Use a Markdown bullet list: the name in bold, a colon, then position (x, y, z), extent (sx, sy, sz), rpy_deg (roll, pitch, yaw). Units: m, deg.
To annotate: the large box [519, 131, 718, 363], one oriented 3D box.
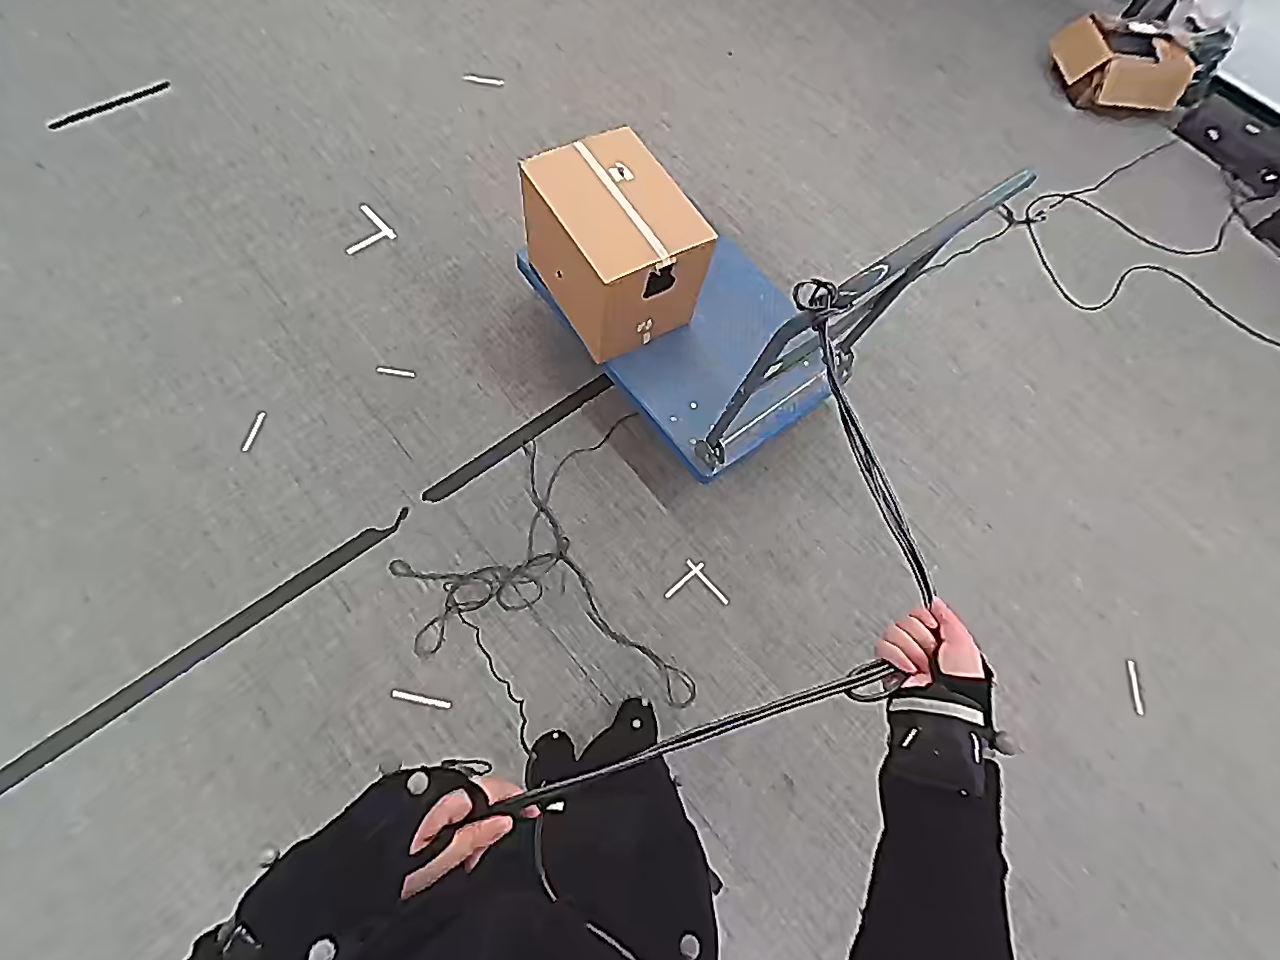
- **large box**: position (-0.065, -0.587, 1.390), extent (0.320, 0.320, 0.408), rpy_deg (-29, 74, -18)
